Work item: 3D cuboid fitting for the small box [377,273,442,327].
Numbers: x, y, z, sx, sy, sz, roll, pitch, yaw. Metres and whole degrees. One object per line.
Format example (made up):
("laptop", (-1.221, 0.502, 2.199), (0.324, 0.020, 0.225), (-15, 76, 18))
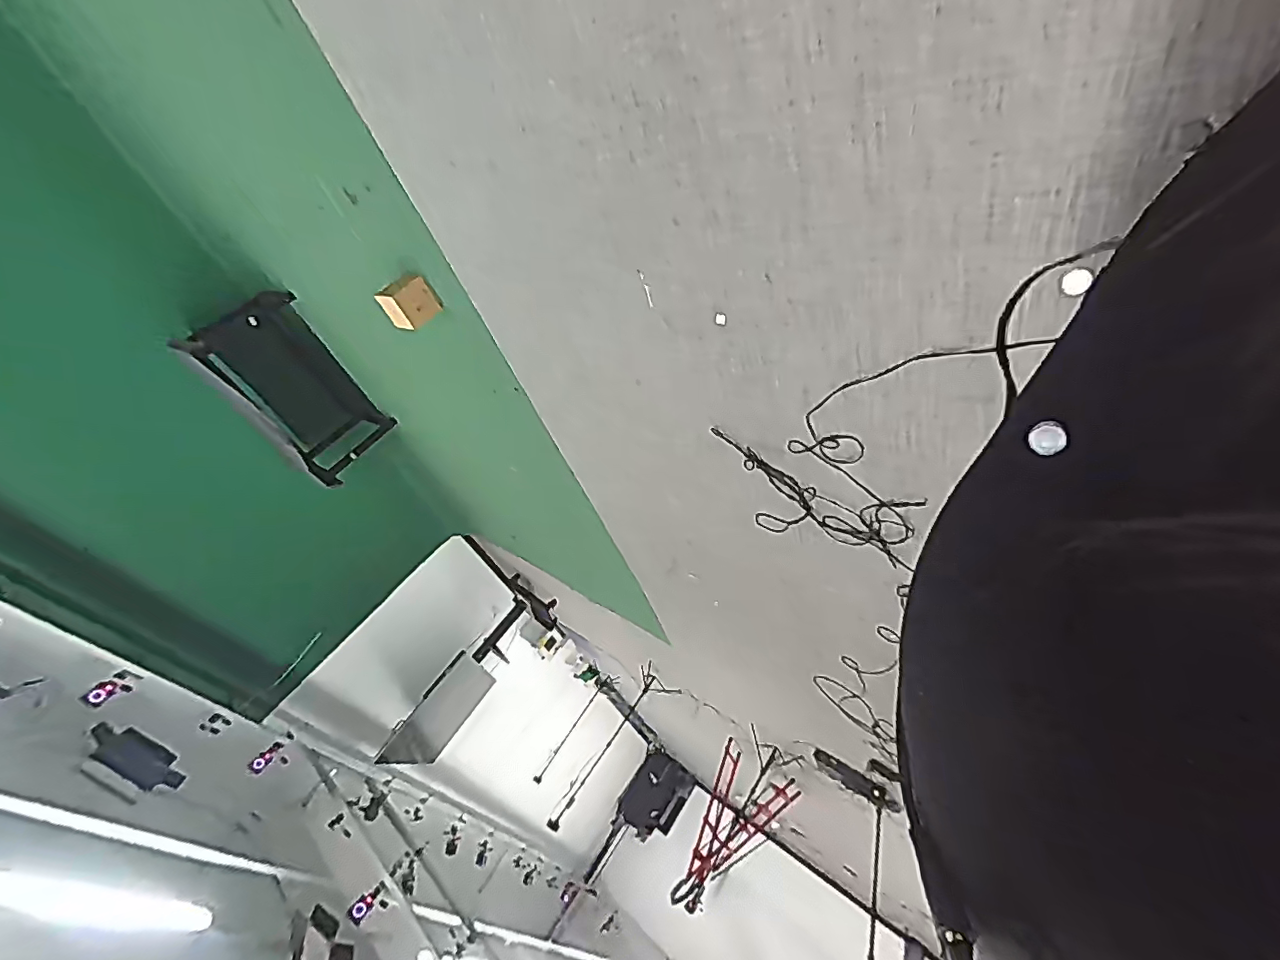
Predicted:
("small box", (-1.009, -0.796, 2.383), (0.179, 0.176, 0.168), (19, 150, 40))
